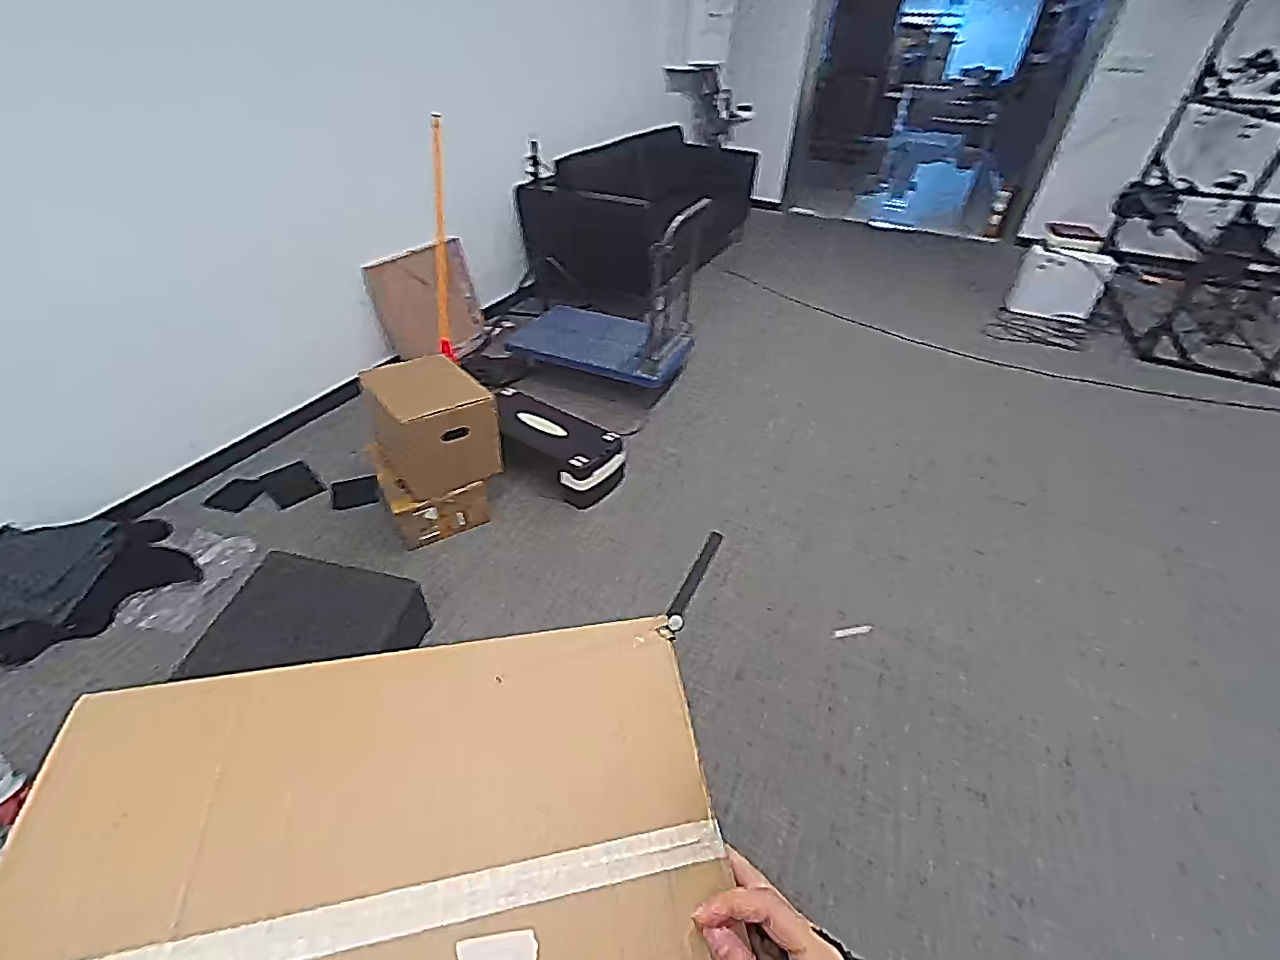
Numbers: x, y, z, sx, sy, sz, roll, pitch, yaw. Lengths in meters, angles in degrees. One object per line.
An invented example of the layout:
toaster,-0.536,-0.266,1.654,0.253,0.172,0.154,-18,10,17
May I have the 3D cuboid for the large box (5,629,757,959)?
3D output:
large box,-0.153,0.350,0.418,0.408,0.320,0.320,-4,50,-12
